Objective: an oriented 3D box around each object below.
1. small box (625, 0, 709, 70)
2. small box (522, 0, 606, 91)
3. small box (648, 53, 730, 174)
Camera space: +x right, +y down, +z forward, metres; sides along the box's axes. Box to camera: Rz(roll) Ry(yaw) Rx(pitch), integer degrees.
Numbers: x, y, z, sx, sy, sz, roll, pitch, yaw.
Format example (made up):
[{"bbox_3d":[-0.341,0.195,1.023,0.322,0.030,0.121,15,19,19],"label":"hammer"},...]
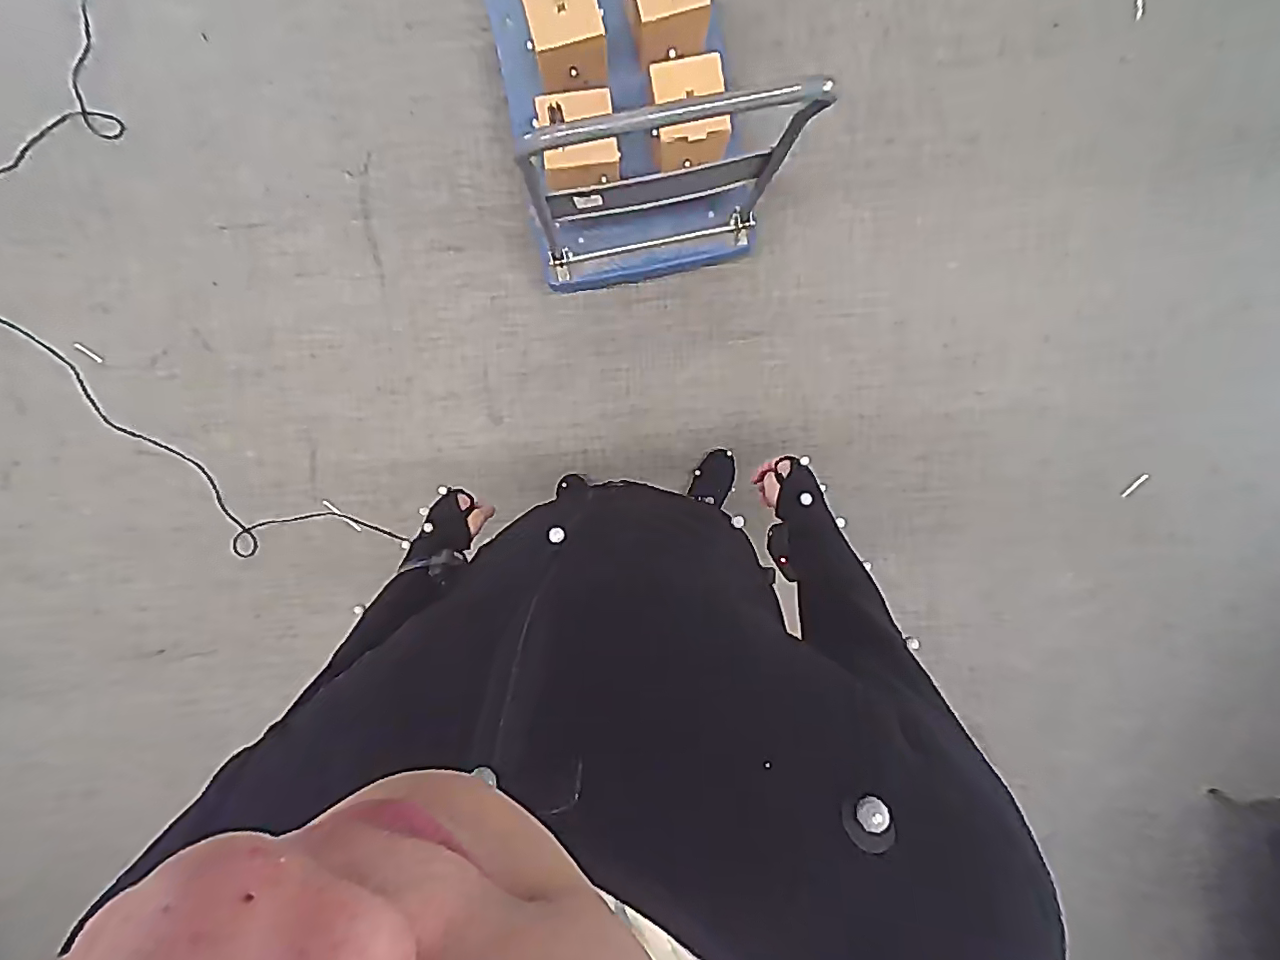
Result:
[{"bbox_3d":[0.060,-1.161,1.319,0.168,0.176,0.179,-15,95,1],"label":"small box"},{"bbox_3d":[-0.183,-1.094,1.322,0.168,0.176,0.179,-15,94,0],"label":"small box"},{"bbox_3d":[0.115,-0.897,1.338,0.168,0.176,0.179,-11,94,0],"label":"small box"}]
